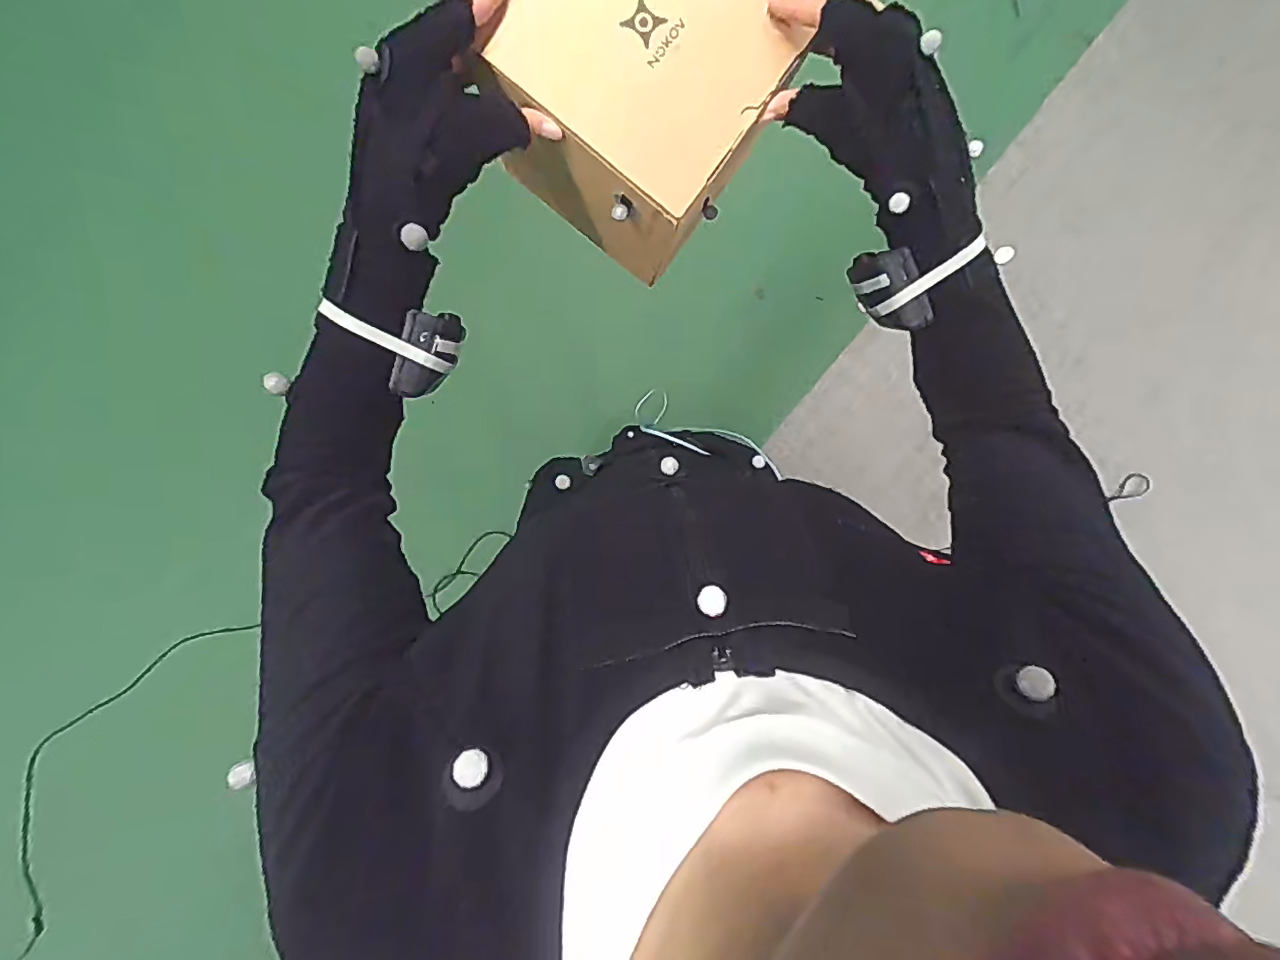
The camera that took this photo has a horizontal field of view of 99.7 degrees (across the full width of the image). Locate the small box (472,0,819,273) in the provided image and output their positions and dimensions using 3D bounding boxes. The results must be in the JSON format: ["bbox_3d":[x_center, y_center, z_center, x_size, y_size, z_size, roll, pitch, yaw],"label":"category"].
[{"bbox_3d":[-0.002,-0.298,0.434,0.179,0.176,0.168,36,91,-9],"label":"small box"}]
